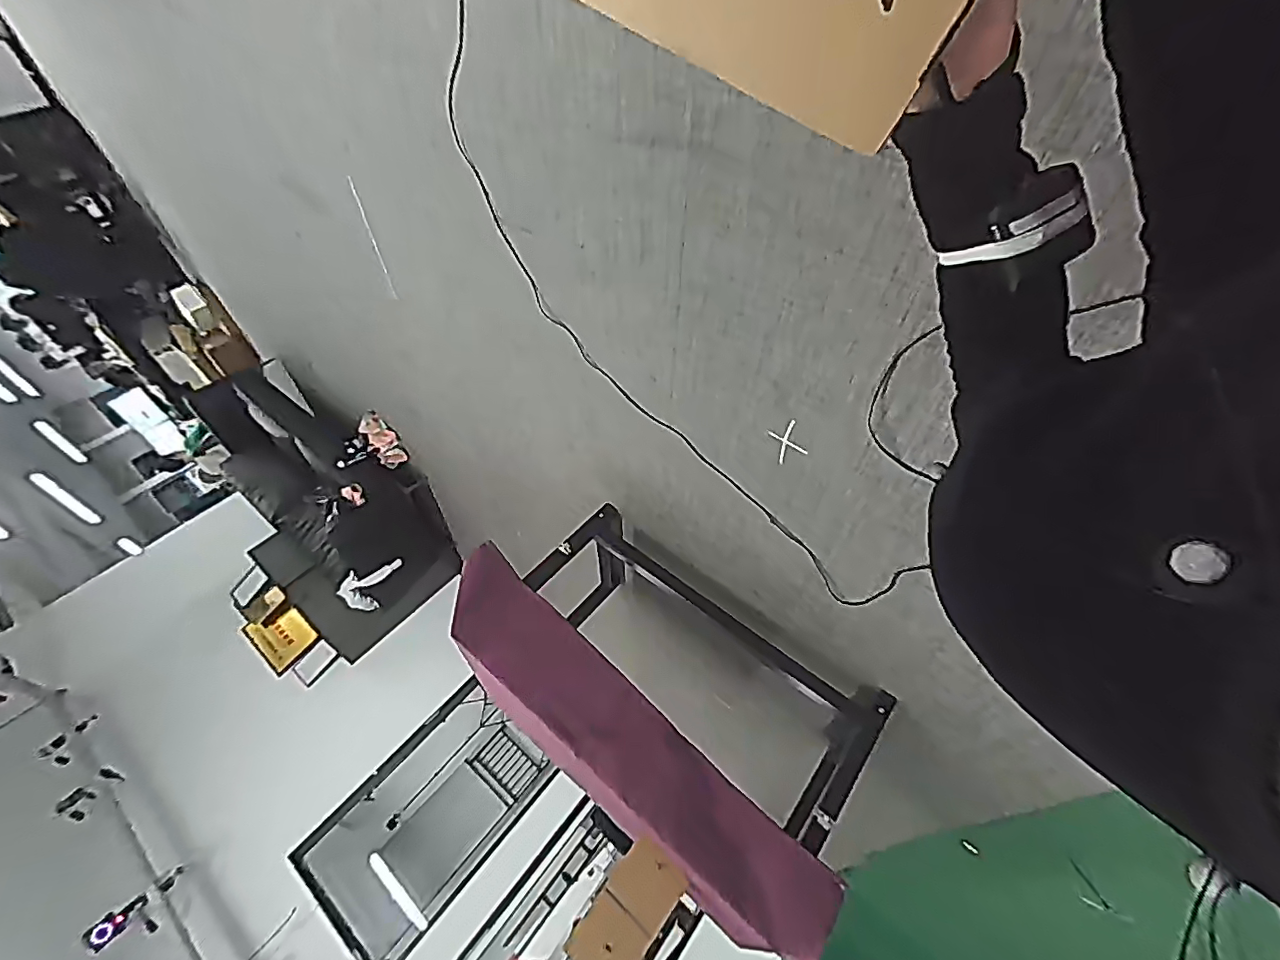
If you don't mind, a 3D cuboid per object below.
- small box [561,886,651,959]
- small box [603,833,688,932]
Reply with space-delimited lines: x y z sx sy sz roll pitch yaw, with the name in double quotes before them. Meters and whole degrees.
"small box" -0.091 1.250 1.478 0.179 0.176 0.168 31 146 25
"small box" 0.016 1.154 1.560 0.179 0.176 0.168 32 147 26
